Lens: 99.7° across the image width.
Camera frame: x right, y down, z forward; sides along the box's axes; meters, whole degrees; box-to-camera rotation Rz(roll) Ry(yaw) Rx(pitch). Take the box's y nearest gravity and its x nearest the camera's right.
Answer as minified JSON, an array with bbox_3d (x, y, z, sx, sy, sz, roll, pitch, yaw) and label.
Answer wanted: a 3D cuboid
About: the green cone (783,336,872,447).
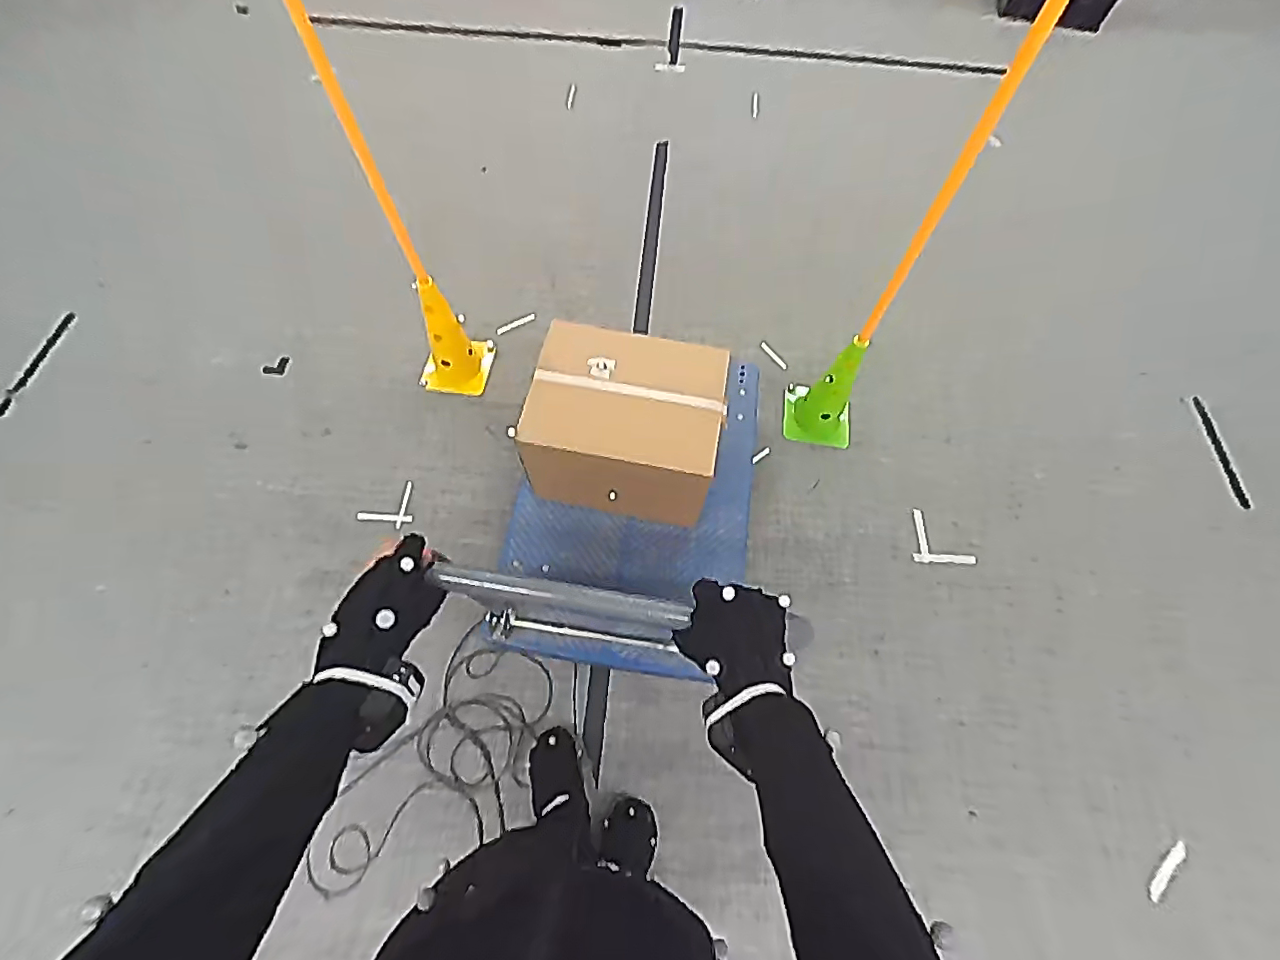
[{"bbox_3d":[0.557,-0.273,1.534,0.202,0.368,0.200,9,65,1],"label":"green cone"}]

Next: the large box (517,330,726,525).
[{"bbox_3d":[-0.030,-0.110,1.280,0.408,0.320,0.320,11,65,4],"label":"large box"}]
